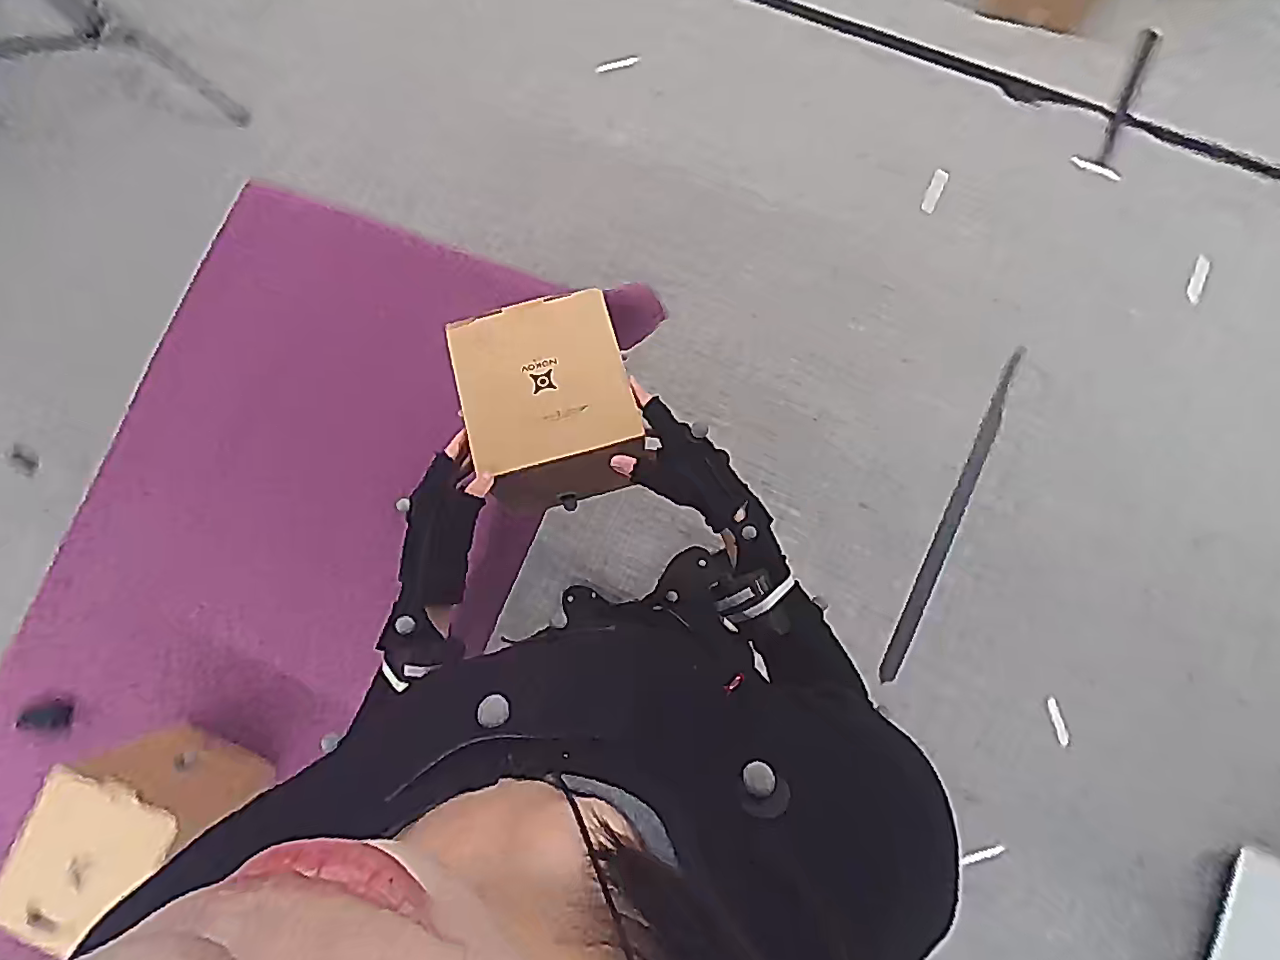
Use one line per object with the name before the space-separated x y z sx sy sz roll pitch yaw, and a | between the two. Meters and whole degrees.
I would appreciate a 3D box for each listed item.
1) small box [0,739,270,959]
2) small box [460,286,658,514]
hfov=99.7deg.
small box | -0.621 0.459 0.686 0.168 0.176 0.179 20 81 5
small box | -0.085 -0.080 0.604 0.168 0.176 0.179 -15 73 -5
